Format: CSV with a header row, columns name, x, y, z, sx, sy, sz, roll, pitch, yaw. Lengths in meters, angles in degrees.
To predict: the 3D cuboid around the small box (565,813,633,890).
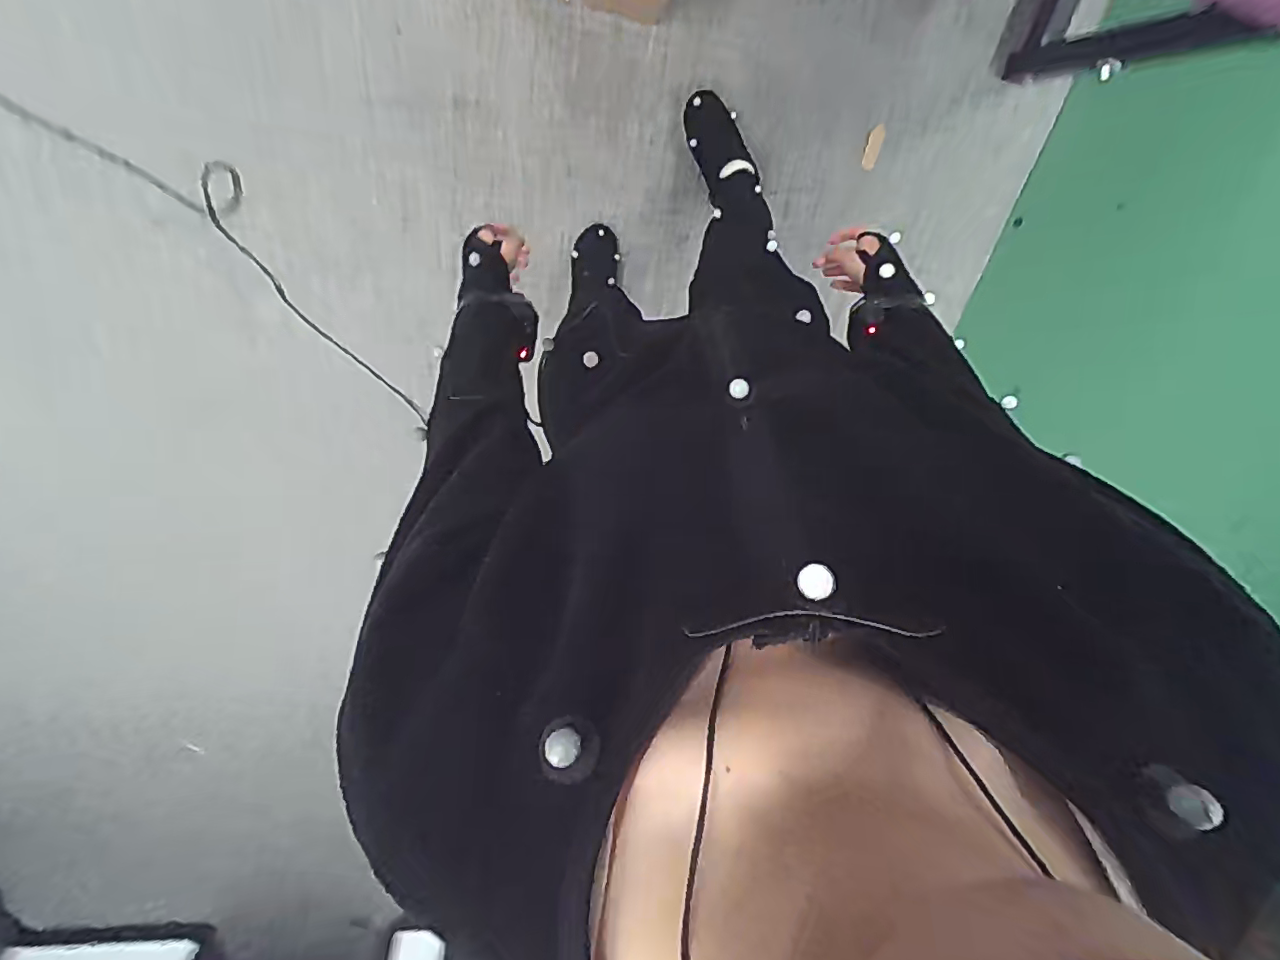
name,x,y,z,sx,sy,sz,roll,pitch,yaw
small box,-0.137,1.228,1.768,0.179,0.176,0.168,-20,119,5
